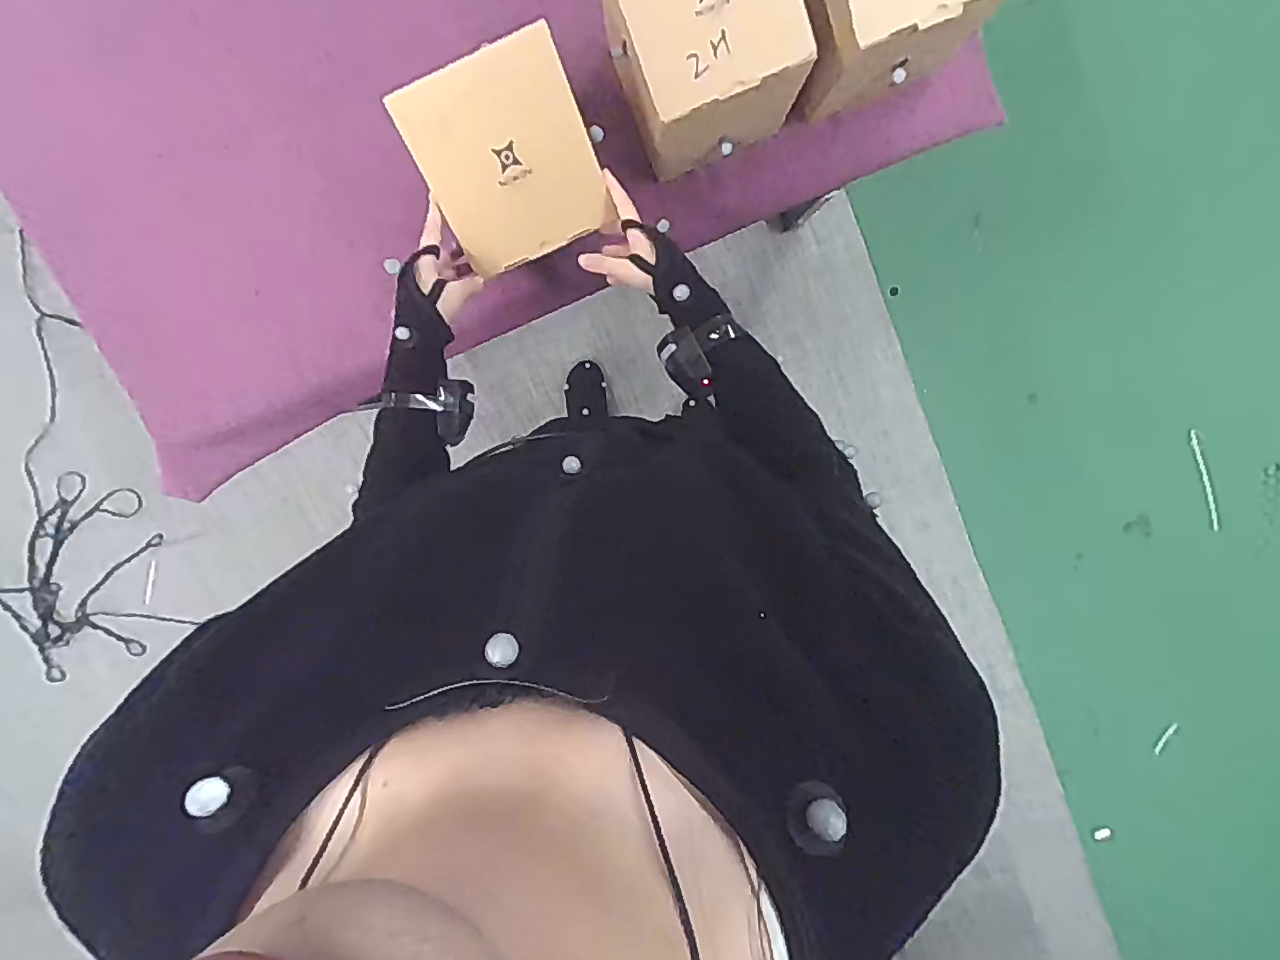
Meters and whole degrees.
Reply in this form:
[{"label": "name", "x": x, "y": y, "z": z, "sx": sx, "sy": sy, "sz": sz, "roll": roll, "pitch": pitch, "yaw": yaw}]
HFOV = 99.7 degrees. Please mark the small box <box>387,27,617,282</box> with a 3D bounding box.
[{"label": "small box", "x": -0.141, "y": -0.347, "z": 0.598, "sx": 0.168, "sy": 0.176, "sz": 0.179, "roll": -23, "pitch": 122, "yaw": 4}]
